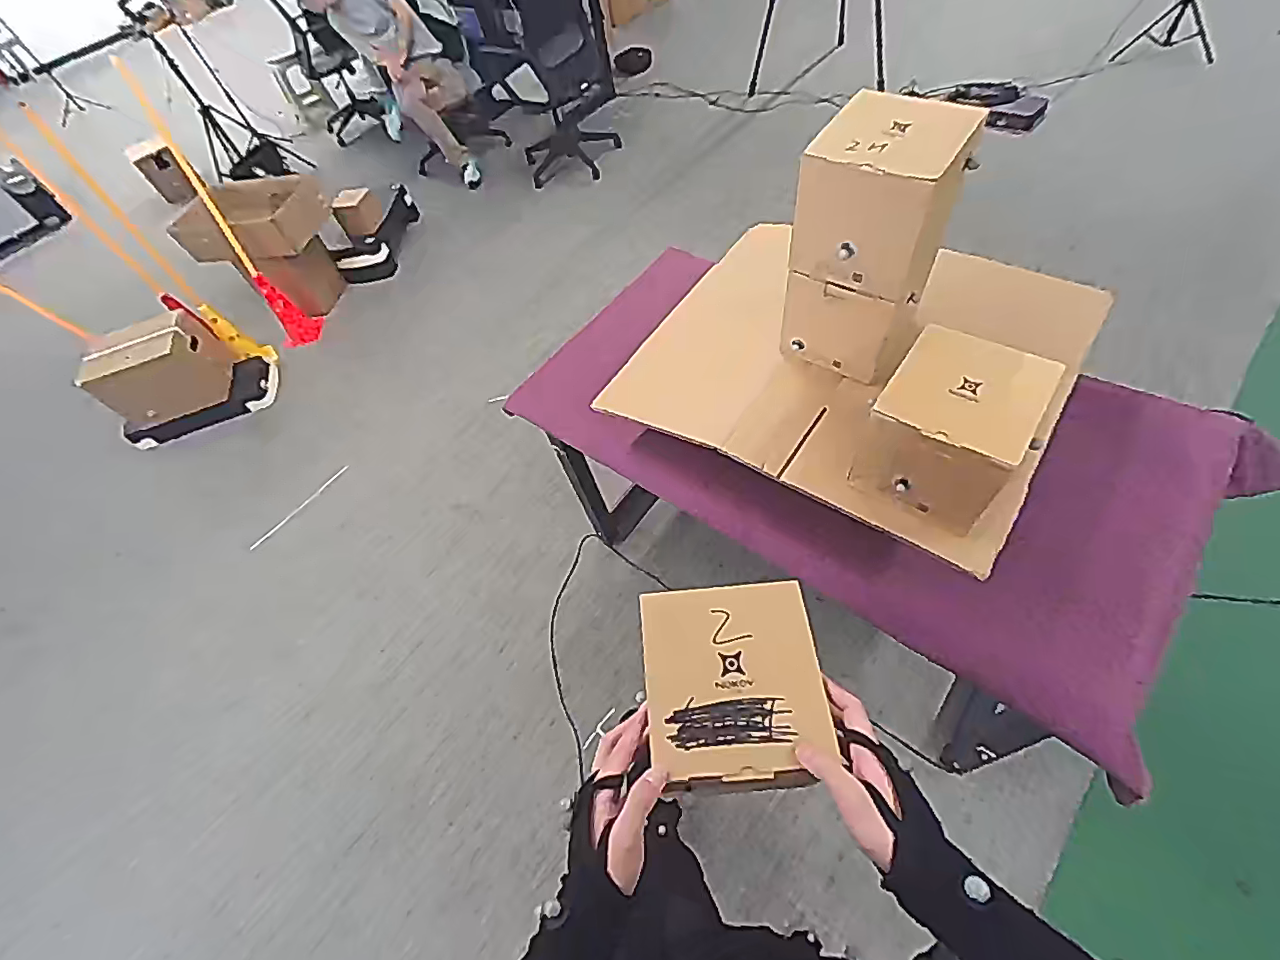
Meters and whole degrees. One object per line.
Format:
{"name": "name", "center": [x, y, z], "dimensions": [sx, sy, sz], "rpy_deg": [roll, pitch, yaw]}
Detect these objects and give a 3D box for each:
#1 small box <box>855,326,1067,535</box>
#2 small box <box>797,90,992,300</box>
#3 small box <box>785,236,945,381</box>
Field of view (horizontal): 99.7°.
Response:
{"name": "small box", "center": [0.403, -0.062, 0.709], "dimensions": [0.168, 0.176, 0.179], "rpy_deg": [29, 67, 25]}
{"name": "small box", "center": [0.325, -0.379, 0.726], "dimensions": [0.168, 0.176, 0.179], "rpy_deg": [29, 67, 24]}
{"name": "small box", "center": [0.346, -0.289, 0.862], "dimensions": [0.168, 0.176, 0.179], "rpy_deg": [29, 66, 24]}
